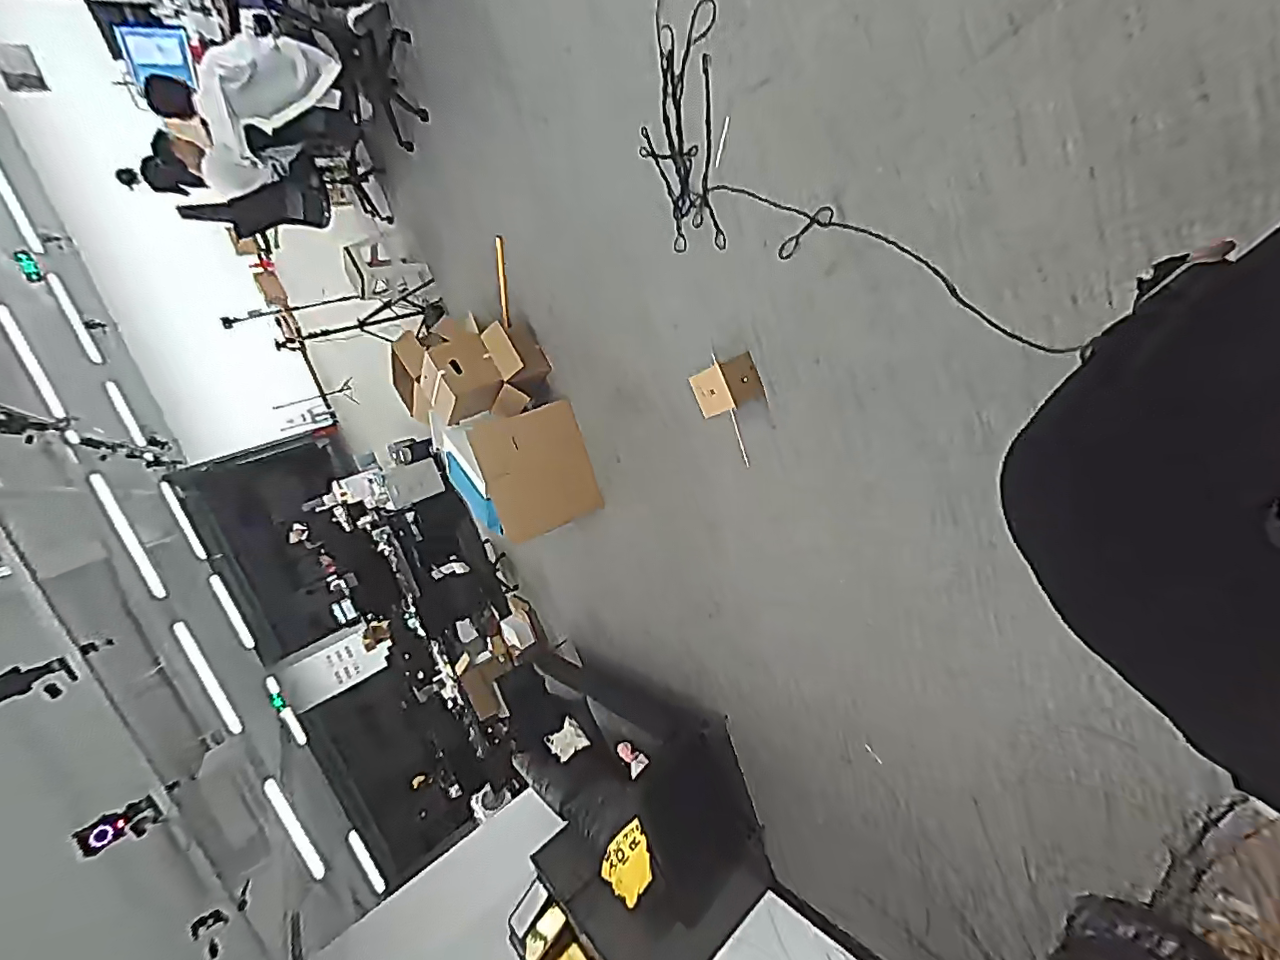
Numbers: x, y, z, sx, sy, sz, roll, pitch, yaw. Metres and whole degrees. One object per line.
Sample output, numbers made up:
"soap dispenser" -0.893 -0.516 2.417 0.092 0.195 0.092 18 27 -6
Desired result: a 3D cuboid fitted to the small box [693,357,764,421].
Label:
"small box" 0.333 -0.338 1.989 0.179 0.176 0.168 -14 101 58
